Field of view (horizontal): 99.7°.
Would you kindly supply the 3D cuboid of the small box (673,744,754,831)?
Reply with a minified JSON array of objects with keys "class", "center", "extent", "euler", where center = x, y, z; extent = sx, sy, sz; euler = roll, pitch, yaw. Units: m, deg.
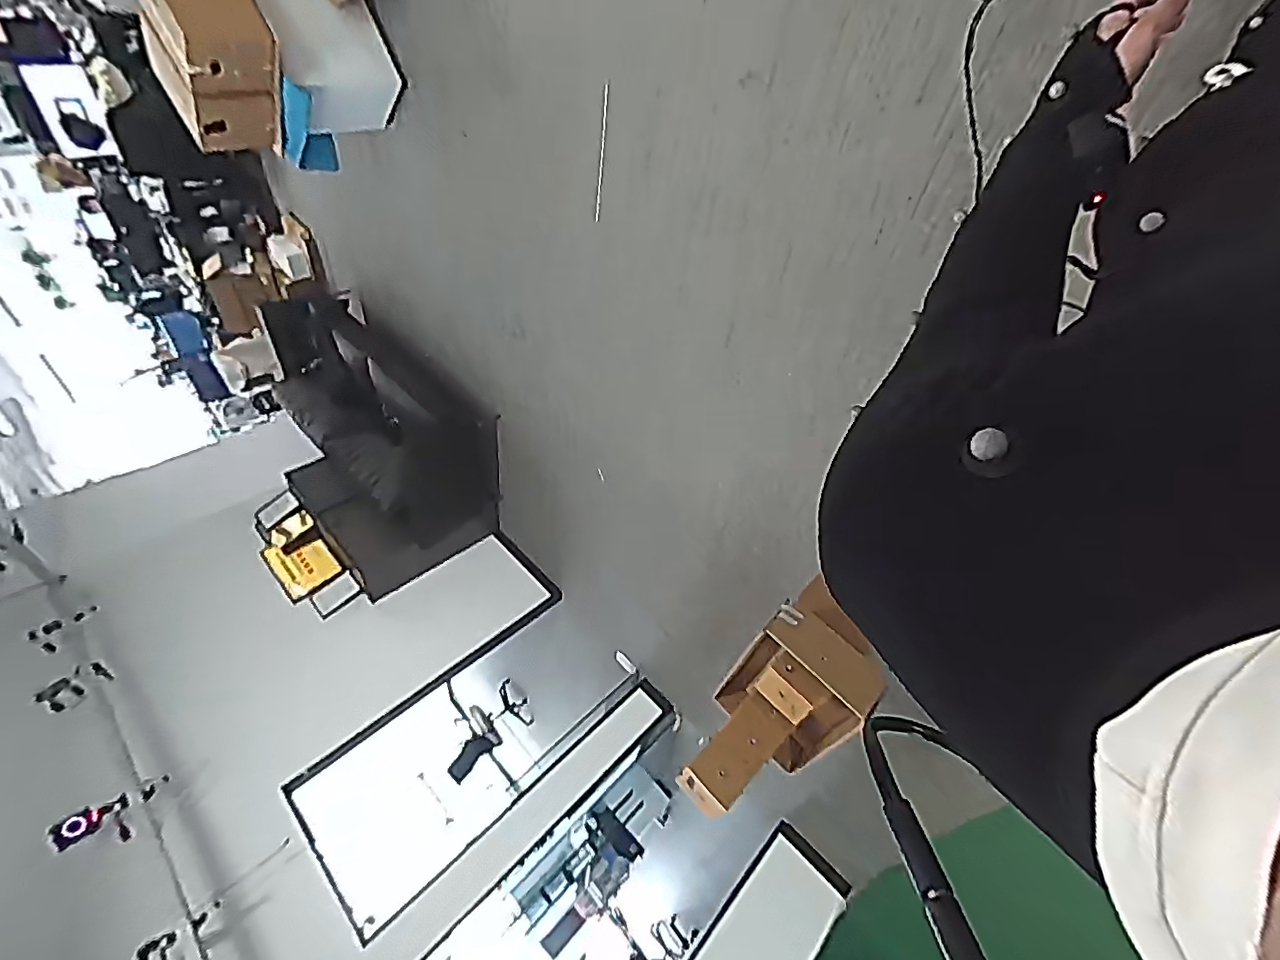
[{"class":"small box","center":[0.245,1.015,1.801],"extent":[0.179,0.176,0.168],"euler":[41,140,21]}]

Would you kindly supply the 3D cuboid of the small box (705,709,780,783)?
[{"class":"small box","center":[0.359,0.946,1.898],"extent":[0.179,0.176,0.168],"euler":[41,139,21]}]

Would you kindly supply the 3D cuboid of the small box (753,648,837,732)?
[{"class":"small box","center":[0.515,0.688,1.798],"extent":[0.179,0.176,0.168],"euler":[40,141,24]}]

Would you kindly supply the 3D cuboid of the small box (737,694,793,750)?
[{"class":"small box","center":[0.474,0.876,1.992],"extent":[0.179,0.176,0.168],"euler":[43,141,21]}]
